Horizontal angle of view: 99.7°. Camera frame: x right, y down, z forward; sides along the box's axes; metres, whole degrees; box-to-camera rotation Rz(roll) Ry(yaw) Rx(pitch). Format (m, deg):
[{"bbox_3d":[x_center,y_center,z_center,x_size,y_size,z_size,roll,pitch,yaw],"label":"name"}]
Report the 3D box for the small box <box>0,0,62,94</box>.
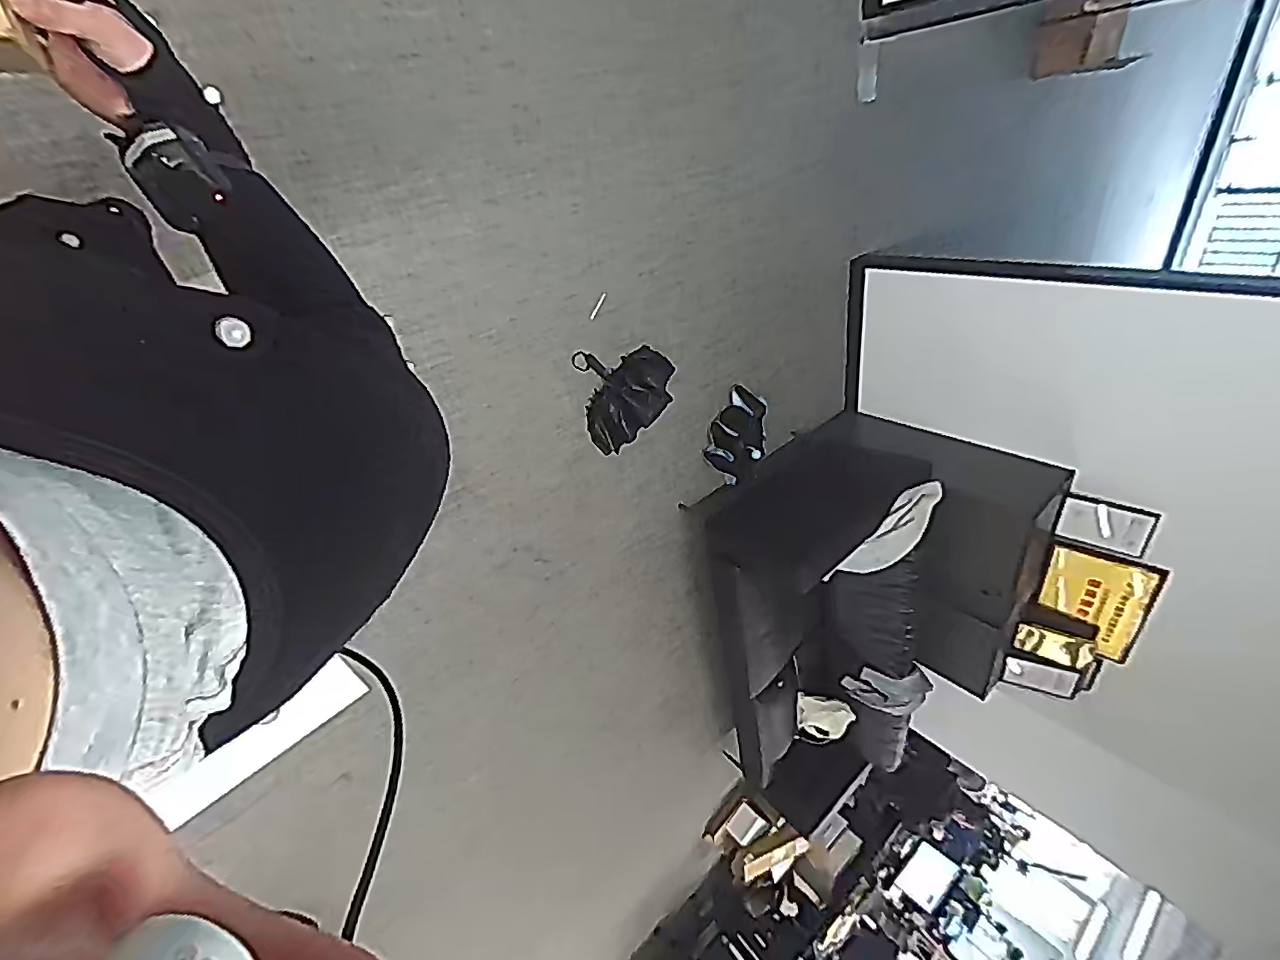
[{"bbox_3d":[-0.481,-0.332,0.298,0.168,0.176,0.179,-24,127,-30],"label":"small box"}]
